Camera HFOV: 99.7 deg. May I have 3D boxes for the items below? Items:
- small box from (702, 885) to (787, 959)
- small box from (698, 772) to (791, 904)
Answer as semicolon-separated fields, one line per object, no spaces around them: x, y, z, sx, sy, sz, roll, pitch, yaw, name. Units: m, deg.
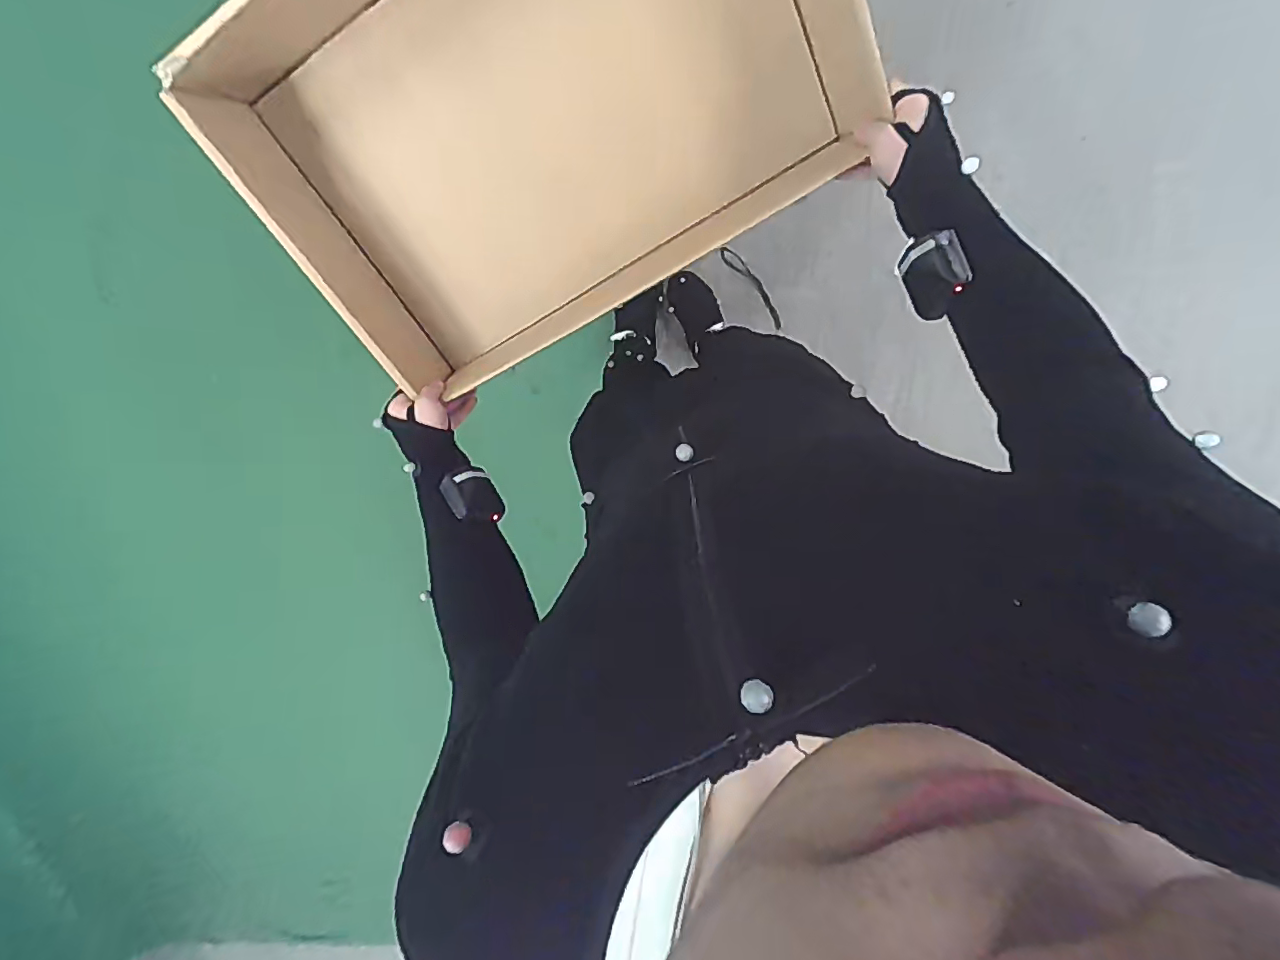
0.233;1.008;1.244;0.168;0.176;0.179;-3;112;2;small box
0.210;0.745;1.131;0.168;0.176;0.179;-2;116;2;small box
